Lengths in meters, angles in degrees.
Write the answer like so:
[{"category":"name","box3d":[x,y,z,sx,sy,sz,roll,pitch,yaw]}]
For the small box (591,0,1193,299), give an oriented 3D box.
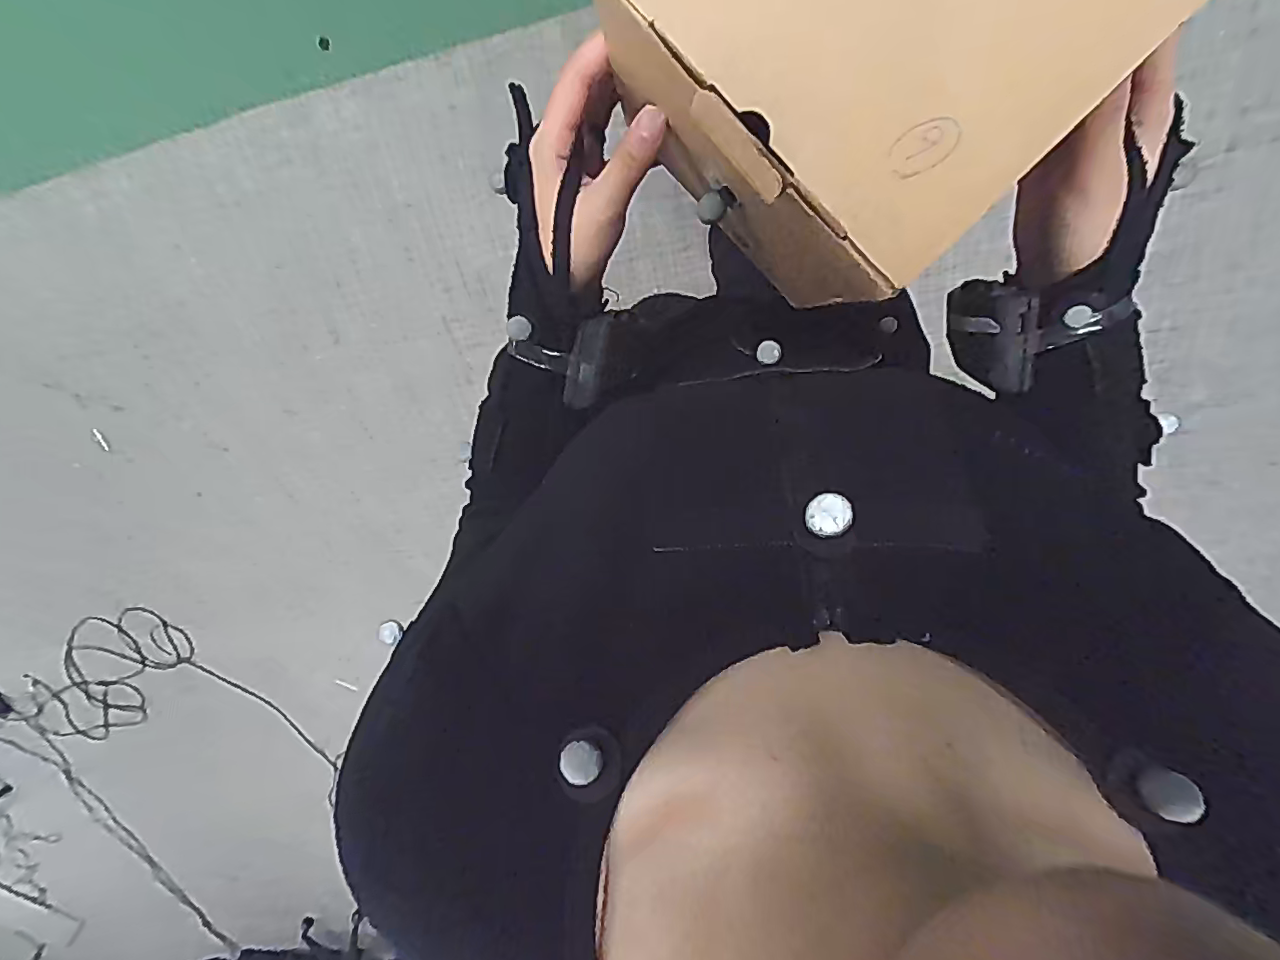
[{"category":"small box","box3d":[0.104,-0.208,0.265,0.168,0.176,0.179,43,105,-8]}]
